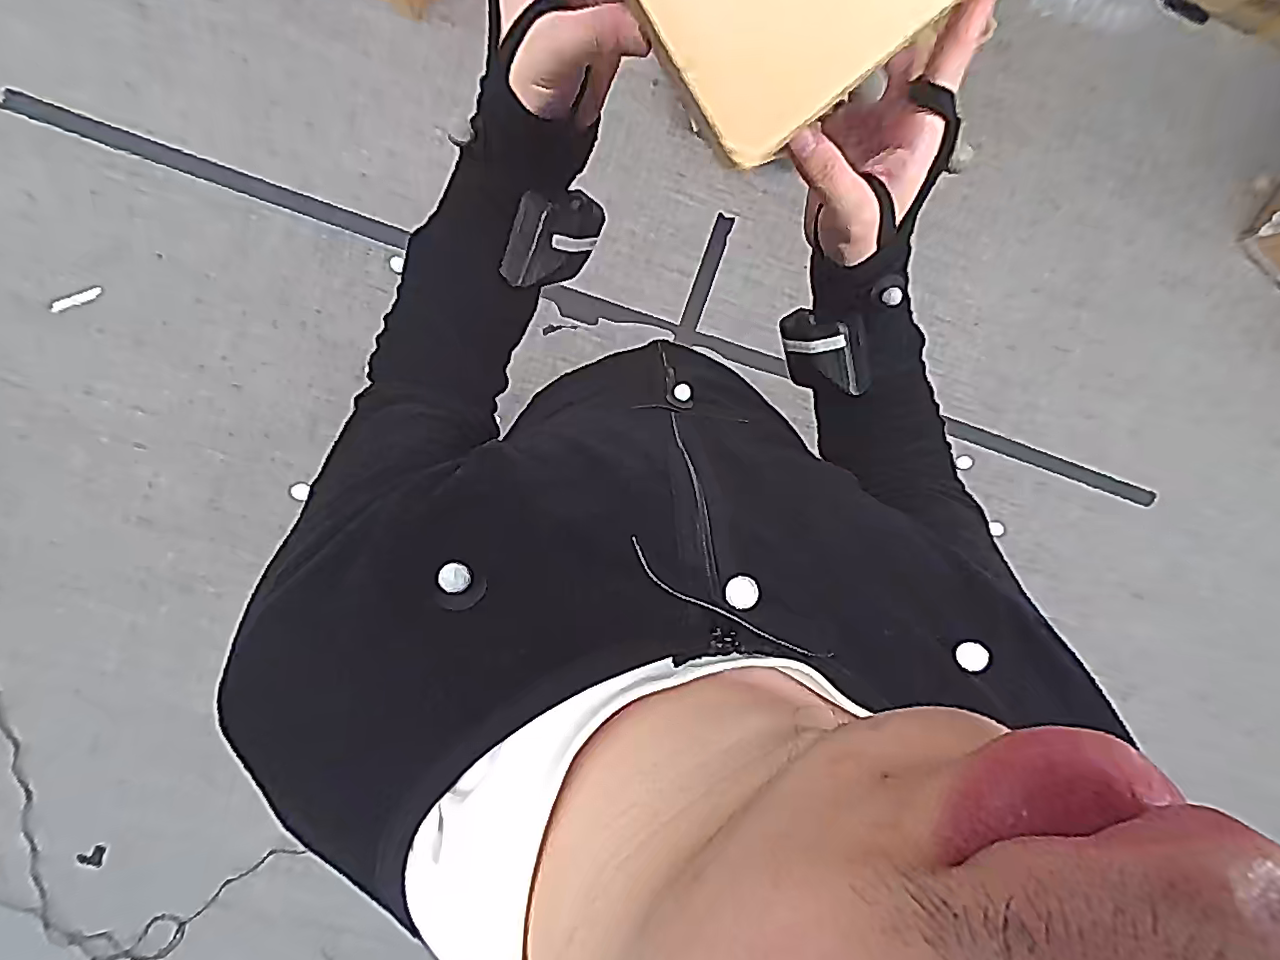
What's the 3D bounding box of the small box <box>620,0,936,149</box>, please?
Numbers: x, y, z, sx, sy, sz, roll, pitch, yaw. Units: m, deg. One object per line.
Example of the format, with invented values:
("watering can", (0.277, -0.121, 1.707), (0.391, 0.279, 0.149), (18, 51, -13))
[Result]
("small box", (0.050, -0.242, 0.181), (0.168, 0.176, 0.179), (-33, 112, 24))
